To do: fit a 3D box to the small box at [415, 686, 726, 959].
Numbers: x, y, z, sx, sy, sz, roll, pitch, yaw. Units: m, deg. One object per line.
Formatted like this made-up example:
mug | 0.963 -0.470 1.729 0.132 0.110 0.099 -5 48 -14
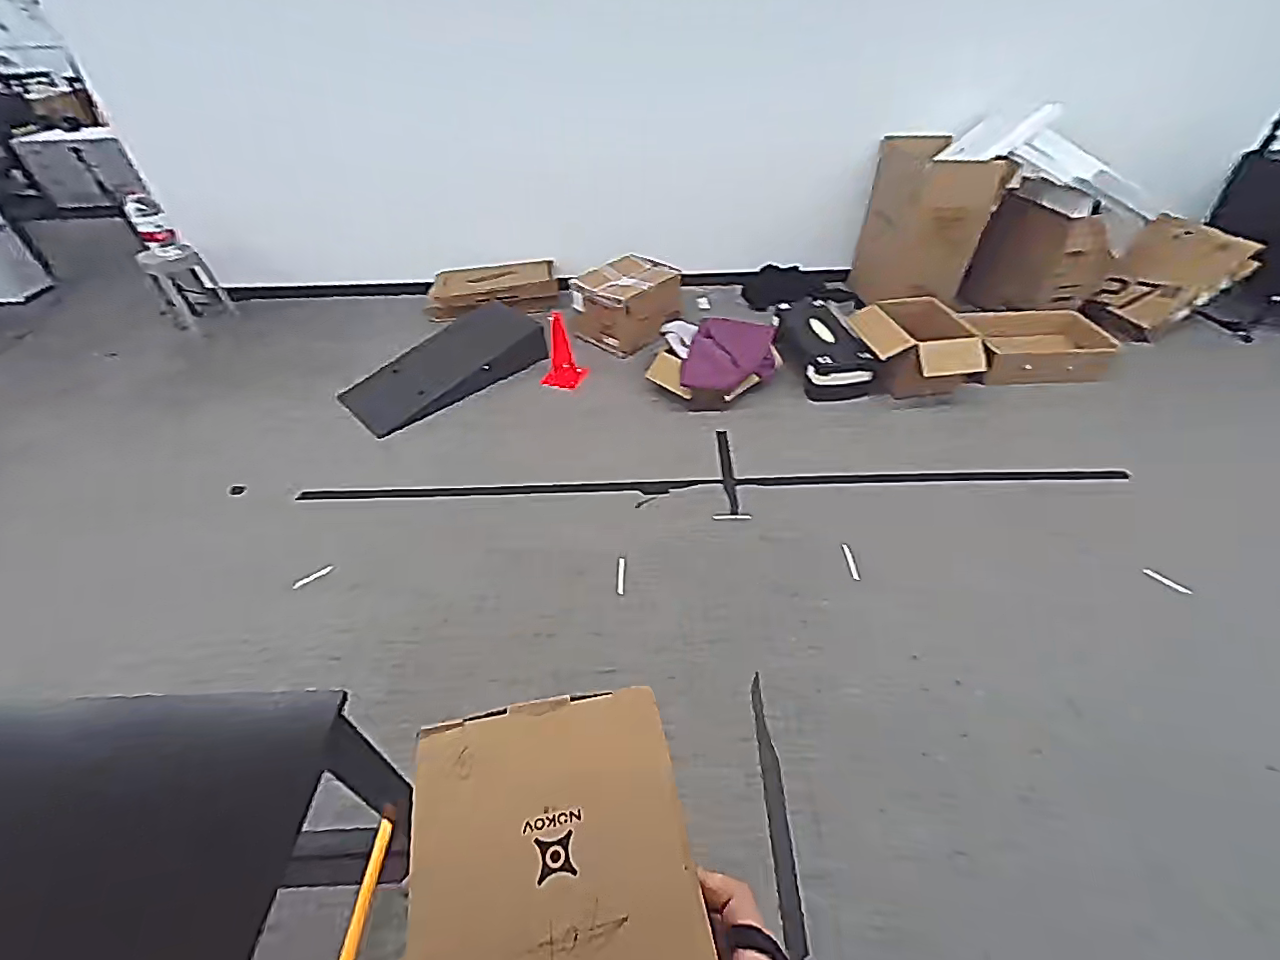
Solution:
small box | -0.053 0.272 0.379 0.168 0.176 0.179 -5 50 -12
